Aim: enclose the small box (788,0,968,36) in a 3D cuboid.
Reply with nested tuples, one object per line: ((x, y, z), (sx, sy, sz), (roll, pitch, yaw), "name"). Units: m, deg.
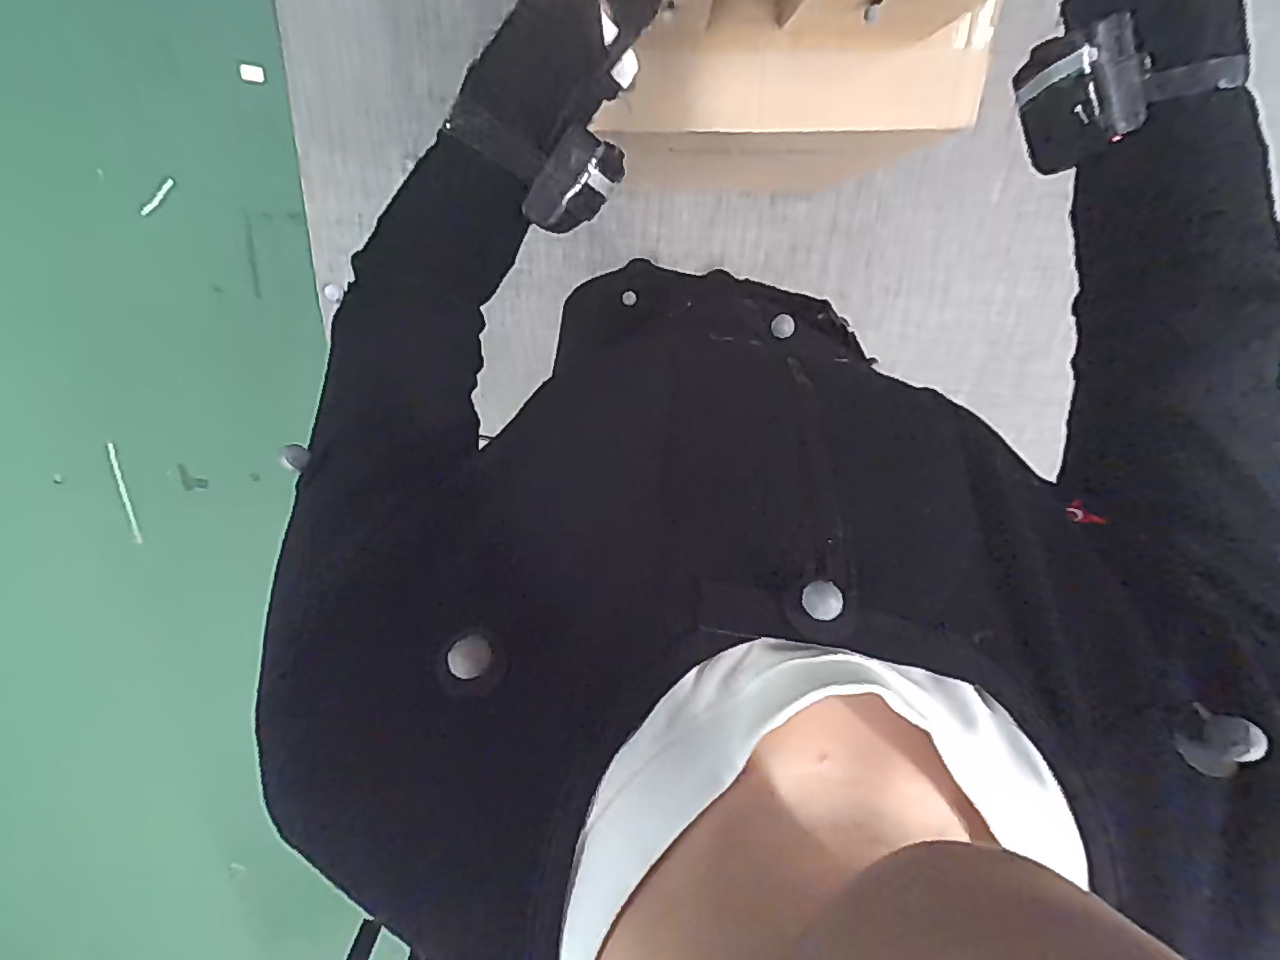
((0.252, -0.553, 0.518), (0.179, 0.176, 0.168), (2, 116, 1), "small box")

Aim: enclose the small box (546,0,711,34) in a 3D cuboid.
((-0.010, -0.559, 0.520), (0.179, 0.176, 0.168), (1, 115, 2), "small box")
